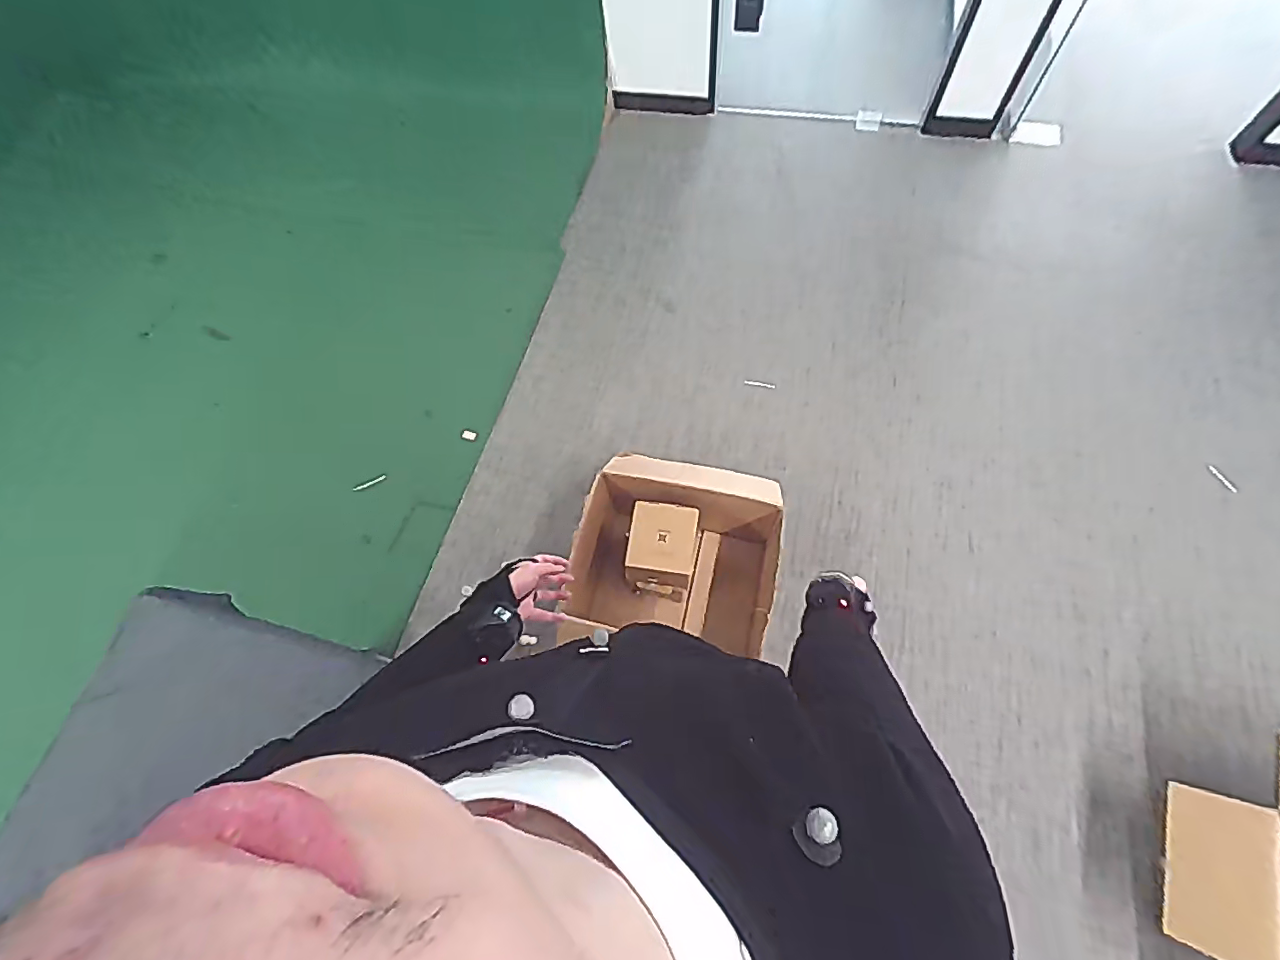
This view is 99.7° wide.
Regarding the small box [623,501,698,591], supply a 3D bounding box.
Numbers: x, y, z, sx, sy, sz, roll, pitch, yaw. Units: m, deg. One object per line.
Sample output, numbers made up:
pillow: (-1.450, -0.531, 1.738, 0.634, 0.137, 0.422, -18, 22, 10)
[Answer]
small box: (0.053, 0.174, 1.398, 0.168, 0.176, 0.179, 7, 68, 5)
